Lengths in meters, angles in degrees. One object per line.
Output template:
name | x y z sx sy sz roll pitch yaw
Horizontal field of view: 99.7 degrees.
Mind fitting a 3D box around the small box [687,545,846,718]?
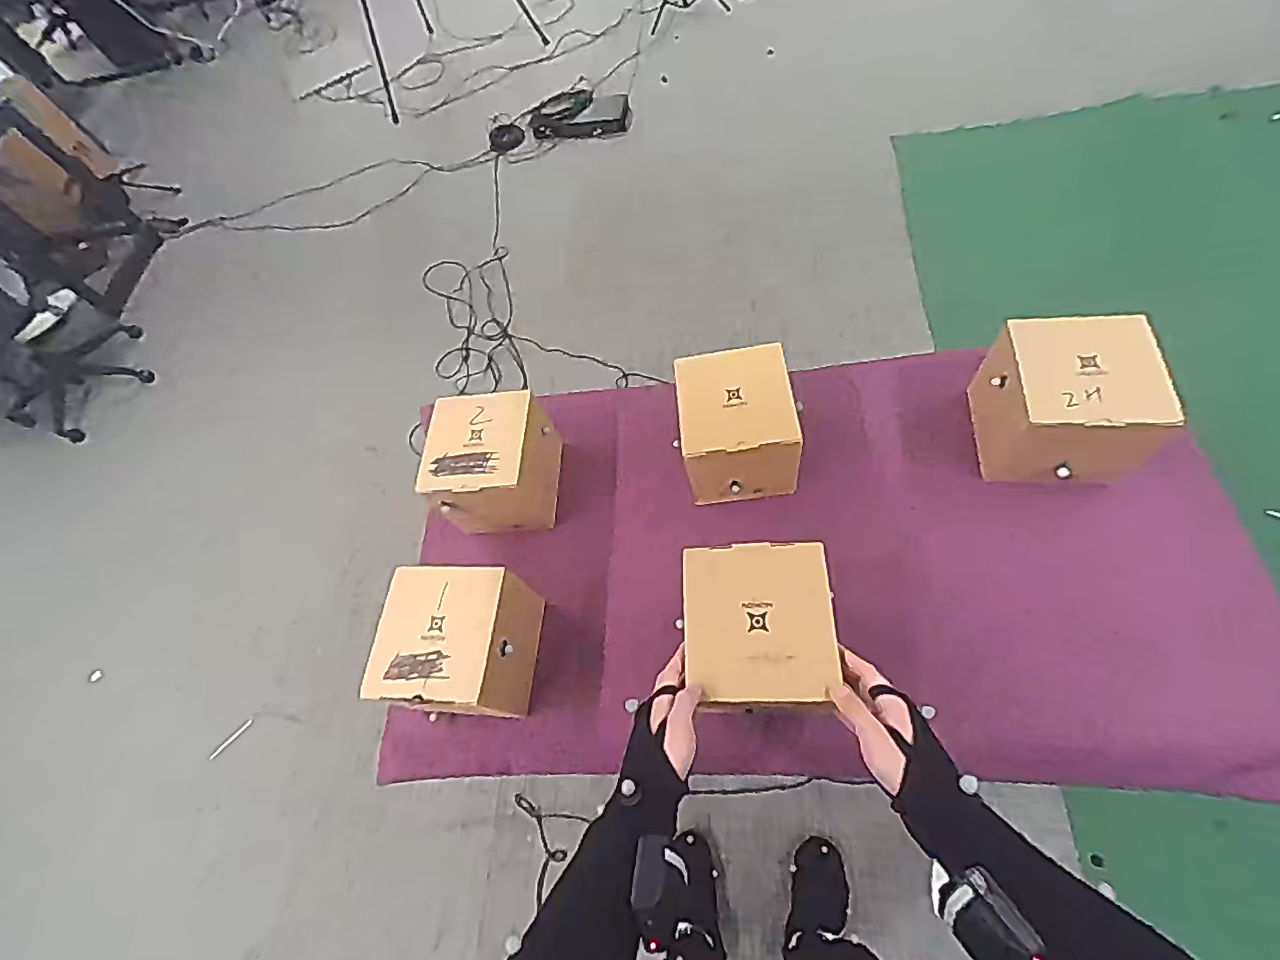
small box | 0.146 0.193 0.671 0.168 0.176 0.179 -3 63 10

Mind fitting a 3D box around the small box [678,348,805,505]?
small box | 0.153 -0.079 0.853 0.168 0.176 0.179 -8 63 7

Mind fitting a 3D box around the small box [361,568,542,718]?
small box | -0.251 0.236 0.768 0.168 0.176 0.179 -1 61 11

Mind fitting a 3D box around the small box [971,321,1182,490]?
small box | 0.597 -0.102 0.772 0.168 0.176 0.179 2 64 13
